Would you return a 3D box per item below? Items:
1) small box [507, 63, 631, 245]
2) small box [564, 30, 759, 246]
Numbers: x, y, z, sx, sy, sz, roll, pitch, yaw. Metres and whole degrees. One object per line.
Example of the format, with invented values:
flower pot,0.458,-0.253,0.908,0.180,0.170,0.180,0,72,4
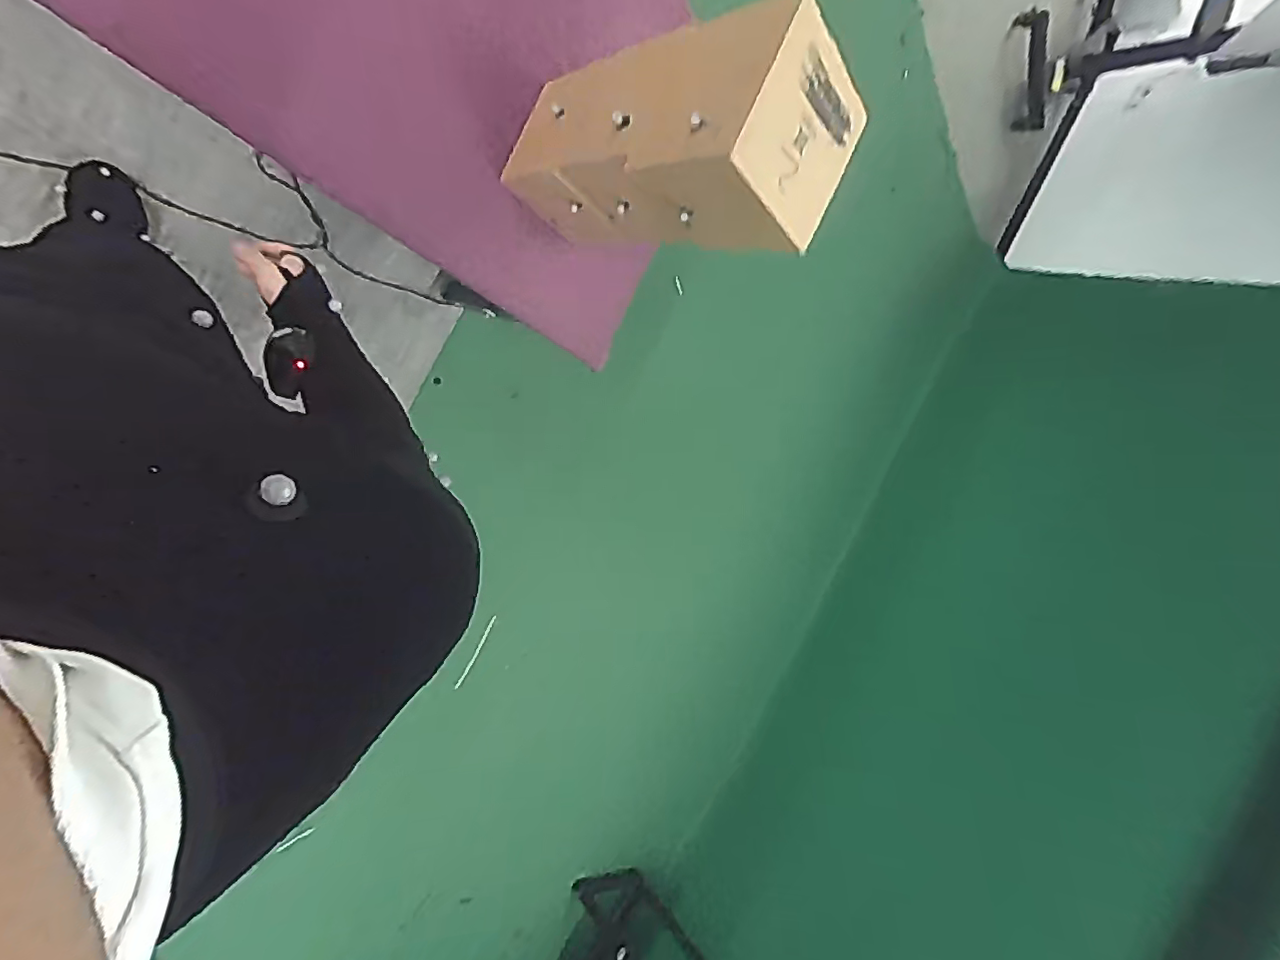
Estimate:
small box,-0.082,-0.497,0.853,0.168,0.176,0.179,26,90,-44
small box,0.022,-0.445,0.737,0.168,0.176,0.179,28,89,-46
